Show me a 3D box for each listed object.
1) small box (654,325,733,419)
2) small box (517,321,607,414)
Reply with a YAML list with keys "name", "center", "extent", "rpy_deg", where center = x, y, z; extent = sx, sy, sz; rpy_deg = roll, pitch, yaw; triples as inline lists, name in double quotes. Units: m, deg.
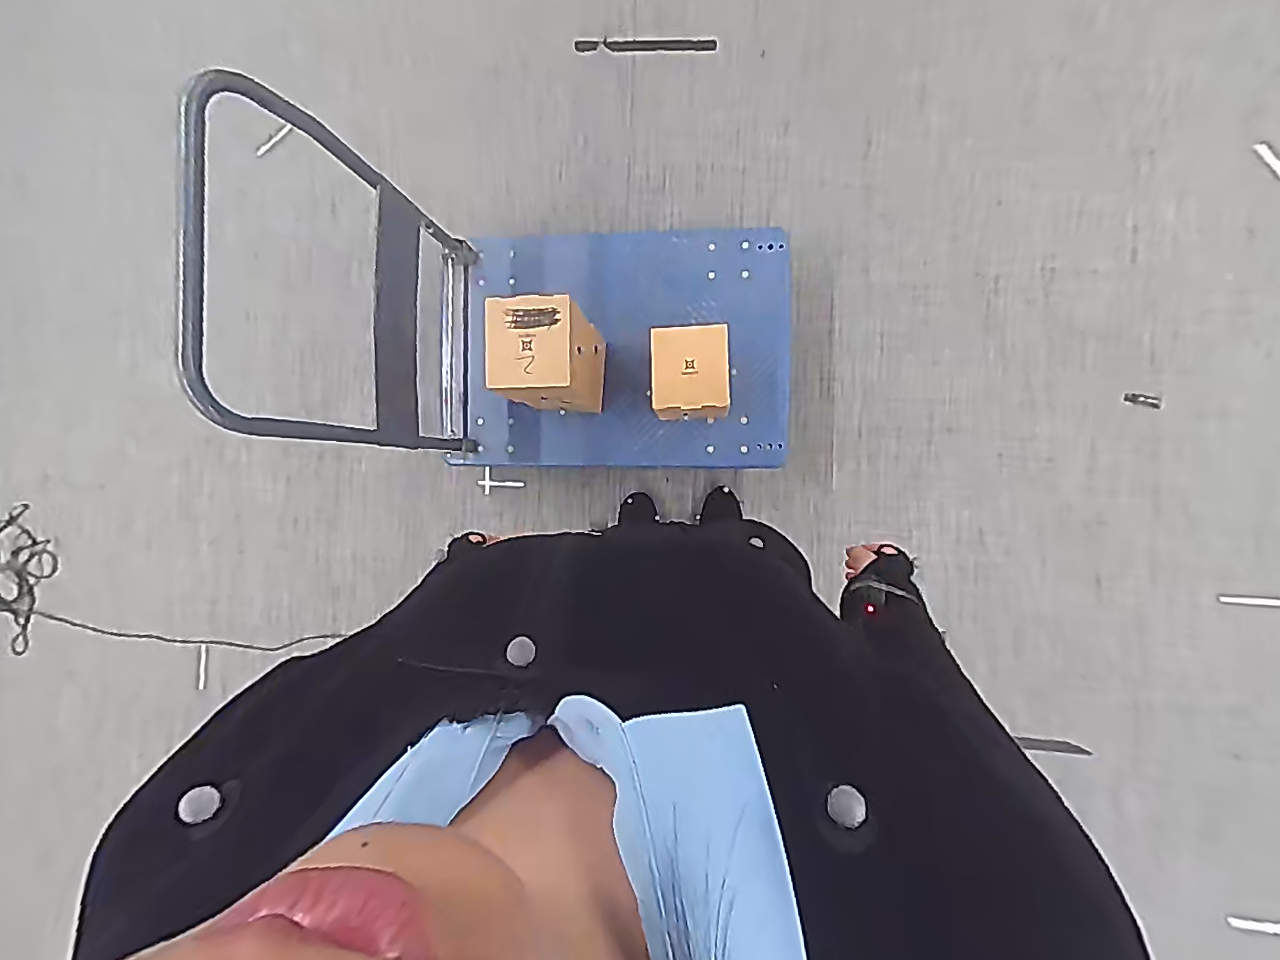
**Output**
- name: "small box"
  center: [0.119, -0.238, 1.225]
  extent: [0.168, 0.176, 0.179]
  rpy_deg: [-2, 89, 6]
- name: "small box"
  center: [-0.174, -0.255, 1.254]
  extent: [0.168, 0.176, 0.179]
  rpy_deg: [4, 90, 7]
